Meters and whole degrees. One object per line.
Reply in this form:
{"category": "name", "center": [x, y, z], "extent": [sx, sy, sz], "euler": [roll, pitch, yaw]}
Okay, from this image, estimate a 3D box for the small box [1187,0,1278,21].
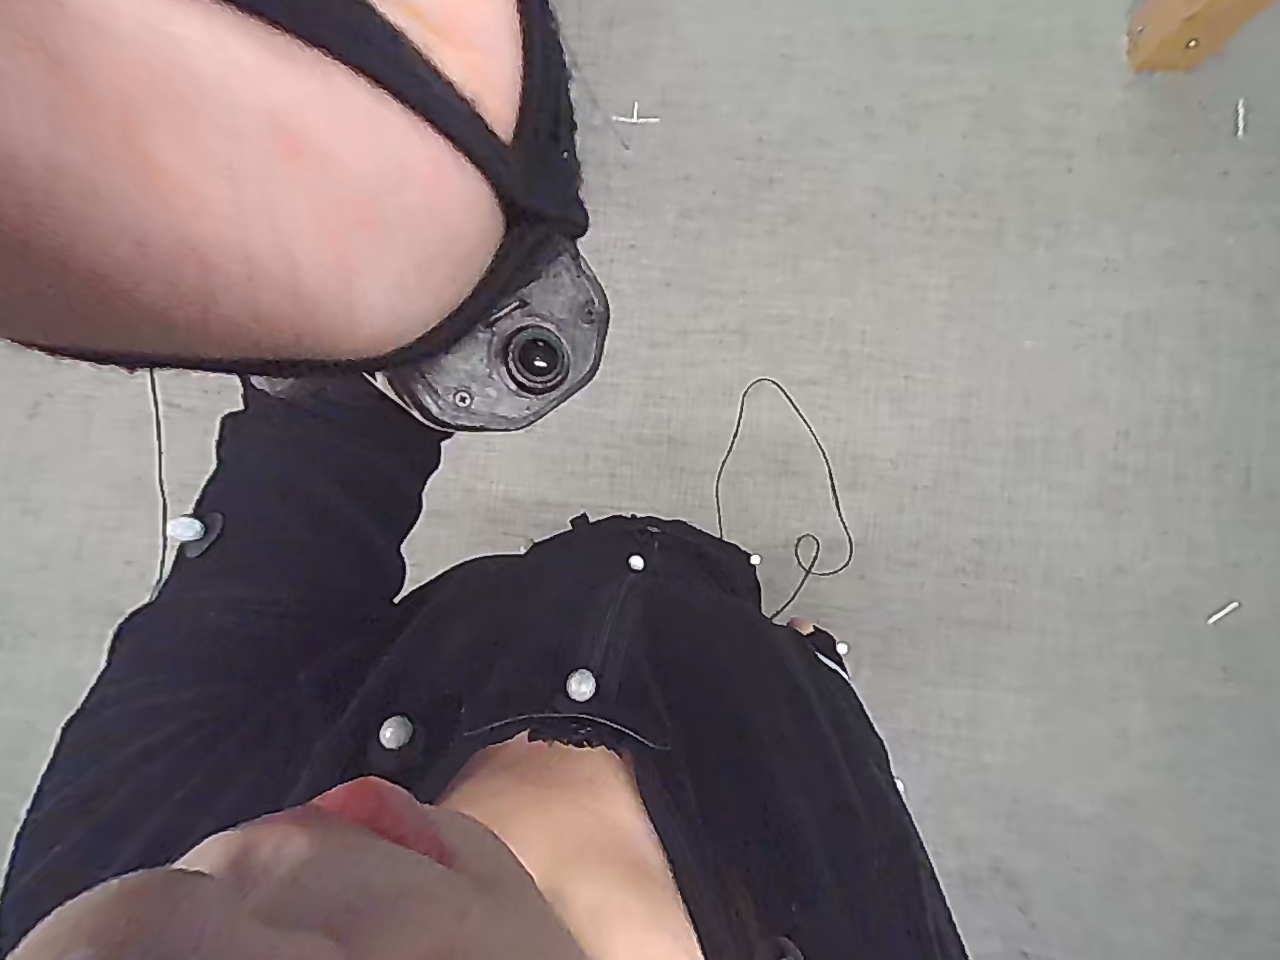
{"category": "small box", "center": [1.516, -1.279, 1.332], "extent": [0.179, 0.176, 0.168], "euler": [1, 85, 3]}
